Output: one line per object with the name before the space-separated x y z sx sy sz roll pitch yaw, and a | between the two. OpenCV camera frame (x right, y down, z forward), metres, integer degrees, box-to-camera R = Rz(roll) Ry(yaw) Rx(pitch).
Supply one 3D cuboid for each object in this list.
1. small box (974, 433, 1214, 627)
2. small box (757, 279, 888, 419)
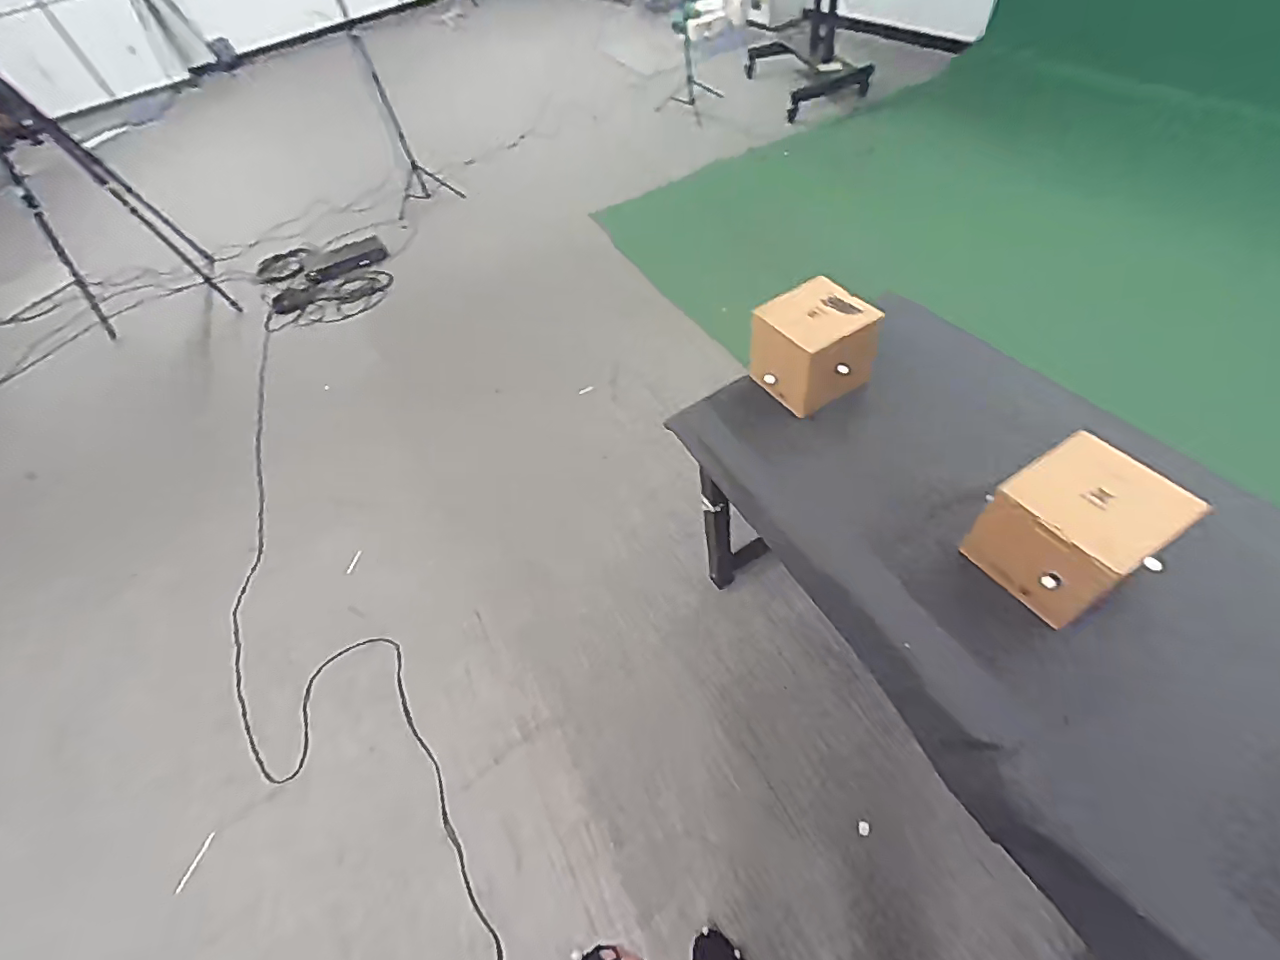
small box | 0.606 0.074 0.754 0.179 0.176 0.168 -29 54 -14
small box | 0.343 -0.254 1.057 0.179 0.176 0.168 -28 53 -13
